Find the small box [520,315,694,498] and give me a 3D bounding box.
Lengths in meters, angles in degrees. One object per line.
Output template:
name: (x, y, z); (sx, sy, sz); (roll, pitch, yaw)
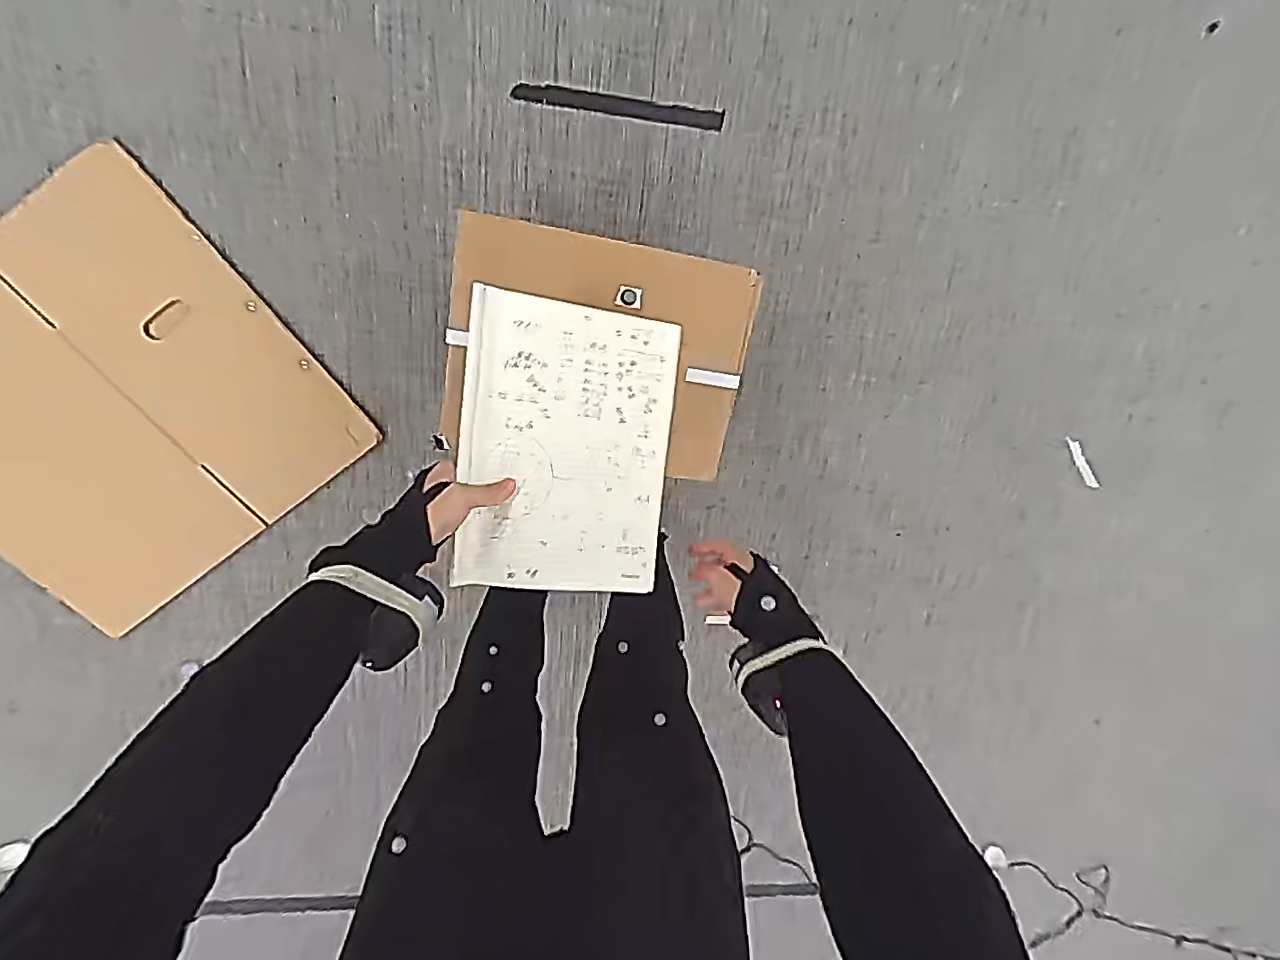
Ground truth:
small box: (-0.046, -0.098, 0.670); (0.168, 0.176, 0.179); (10, 106, -10)
